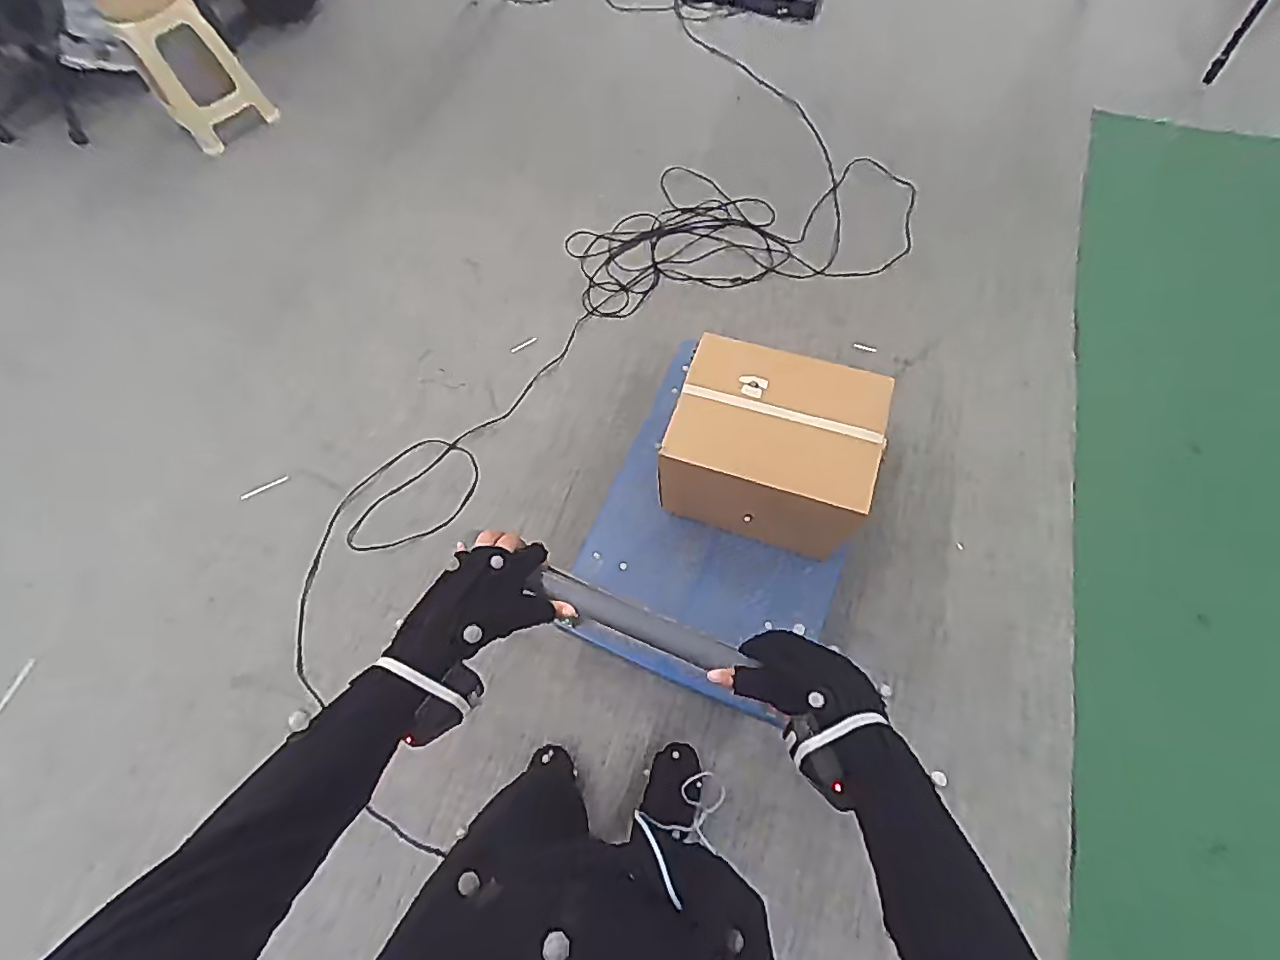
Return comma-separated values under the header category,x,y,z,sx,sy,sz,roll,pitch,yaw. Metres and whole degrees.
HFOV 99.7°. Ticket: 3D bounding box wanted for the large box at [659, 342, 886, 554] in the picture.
category,x,y,z,sx,sy,sz,roll,pitch,yaw
large box,0.285,-0.062,1.221,0.408,0.320,0.320,15,68,12
